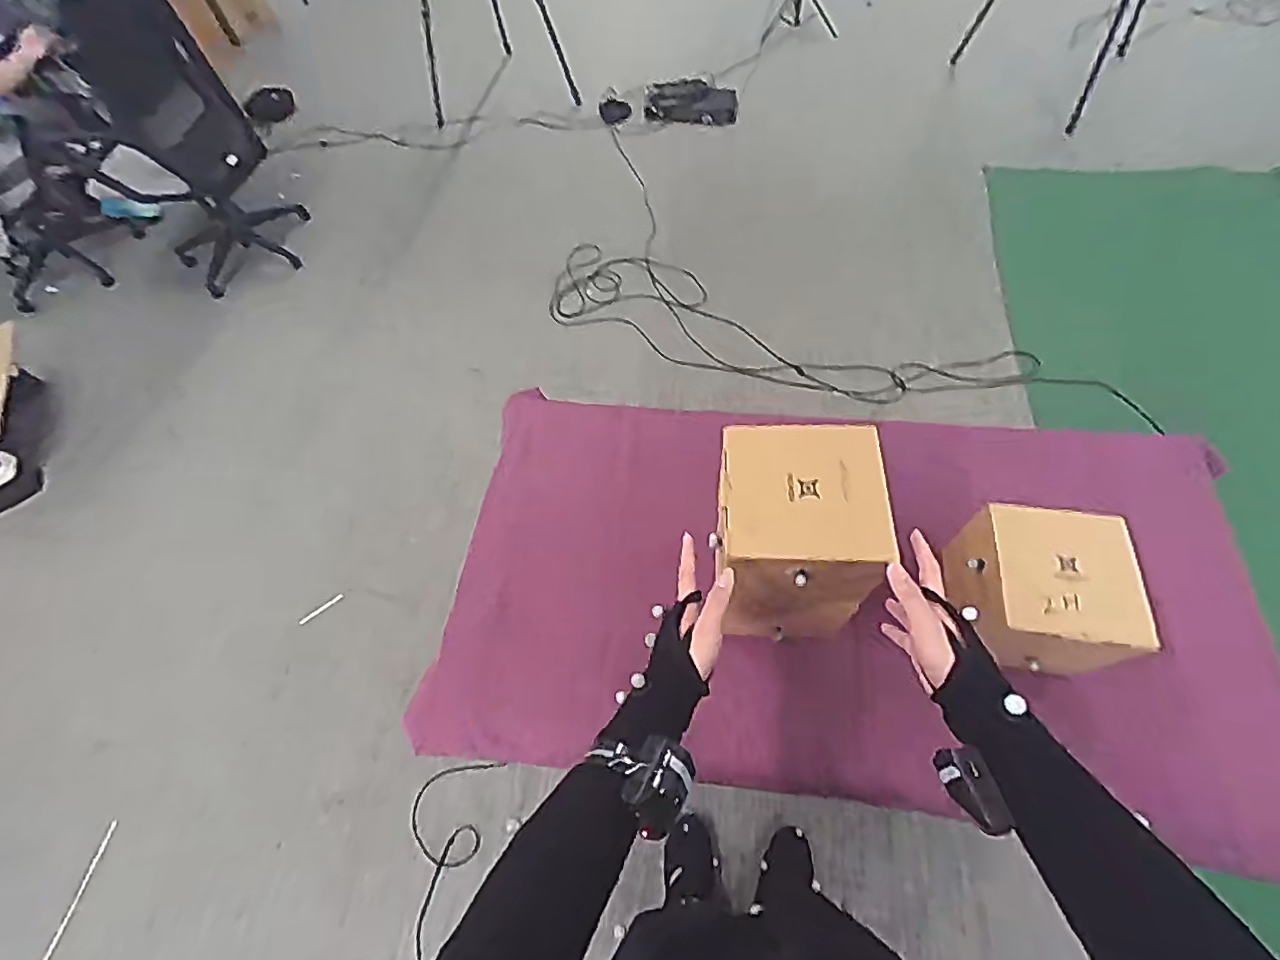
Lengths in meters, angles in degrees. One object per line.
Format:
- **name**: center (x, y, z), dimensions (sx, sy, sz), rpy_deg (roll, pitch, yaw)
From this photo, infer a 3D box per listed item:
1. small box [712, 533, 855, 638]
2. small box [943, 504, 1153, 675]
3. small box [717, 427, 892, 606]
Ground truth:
- **small box**: center (0.201, 0.131, 0.802), dimensions (0.179, 0.176, 0.168), rpy_deg (2, 60, 7)
- **small box**: center (0.542, 0.156, 0.752), dimensions (0.168, 0.176, 0.179), rpy_deg (7, 62, 10)
- **small box**: center (0.184, 0.050, 0.660), dimensions (0.179, 0.176, 0.168), rpy_deg (1, 61, 7)
